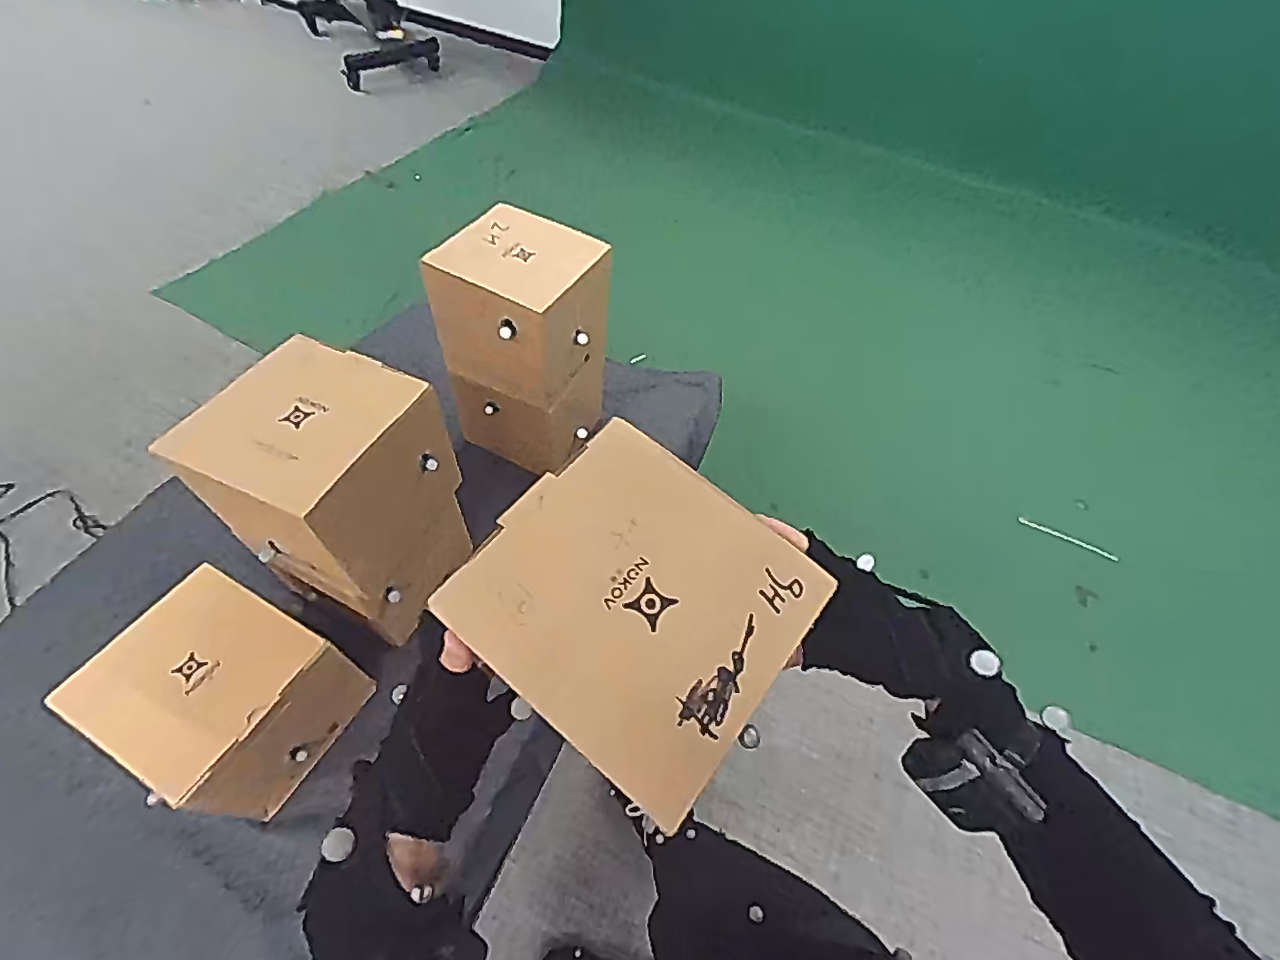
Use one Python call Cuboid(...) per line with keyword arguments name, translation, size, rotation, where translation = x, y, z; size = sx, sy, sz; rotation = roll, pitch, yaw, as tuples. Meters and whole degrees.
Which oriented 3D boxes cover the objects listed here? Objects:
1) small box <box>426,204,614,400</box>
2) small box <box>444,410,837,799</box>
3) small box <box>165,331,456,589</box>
Cuboid(name="small box", translation=(-0.152, -0.235, 0.738), size=(0.179, 0.176, 0.168), rotation=(26, 56, 12))
Cuboid(name="small box", translation=(-0.003, 0.090, 0.388), size=(0.179, 0.176, 0.168), rotation=(38, 68, 13))
Cuboid(name="small box", translation=(-0.314, -0.018, 0.567), size=(0.168, 0.176, 0.179), rotation=(22, 56, 10))
